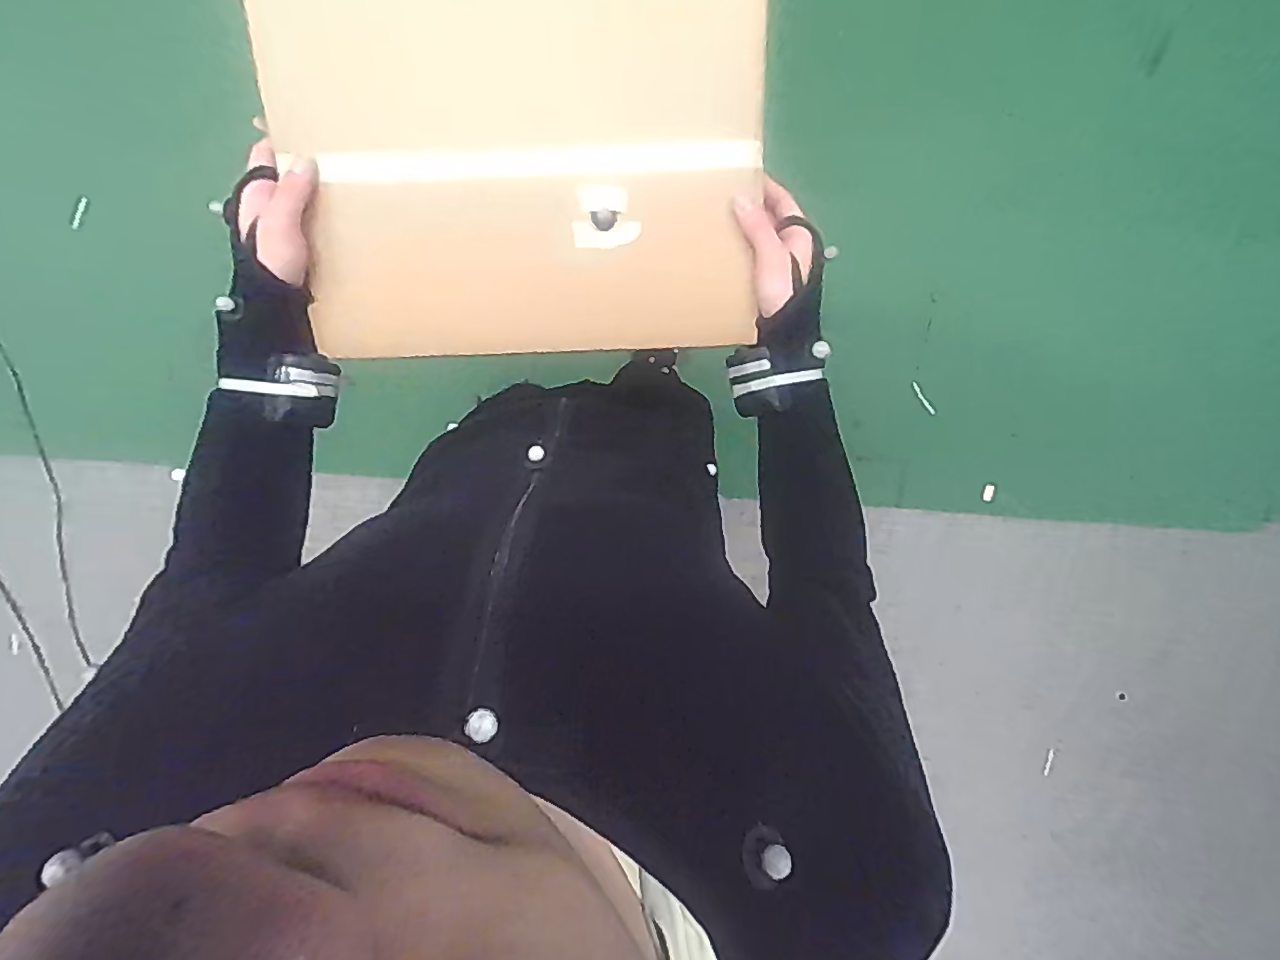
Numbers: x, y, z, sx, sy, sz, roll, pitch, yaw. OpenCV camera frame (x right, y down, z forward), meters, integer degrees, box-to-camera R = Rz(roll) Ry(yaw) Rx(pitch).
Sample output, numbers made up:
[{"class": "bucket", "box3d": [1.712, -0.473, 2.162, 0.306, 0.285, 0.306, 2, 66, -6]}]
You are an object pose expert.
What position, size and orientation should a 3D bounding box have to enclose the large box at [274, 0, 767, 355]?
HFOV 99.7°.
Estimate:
[{"class": "large box", "box3d": [-0.097, -0.316, 0.612, 0.408, 0.320, 0.320, -3, 107, -2]}]
